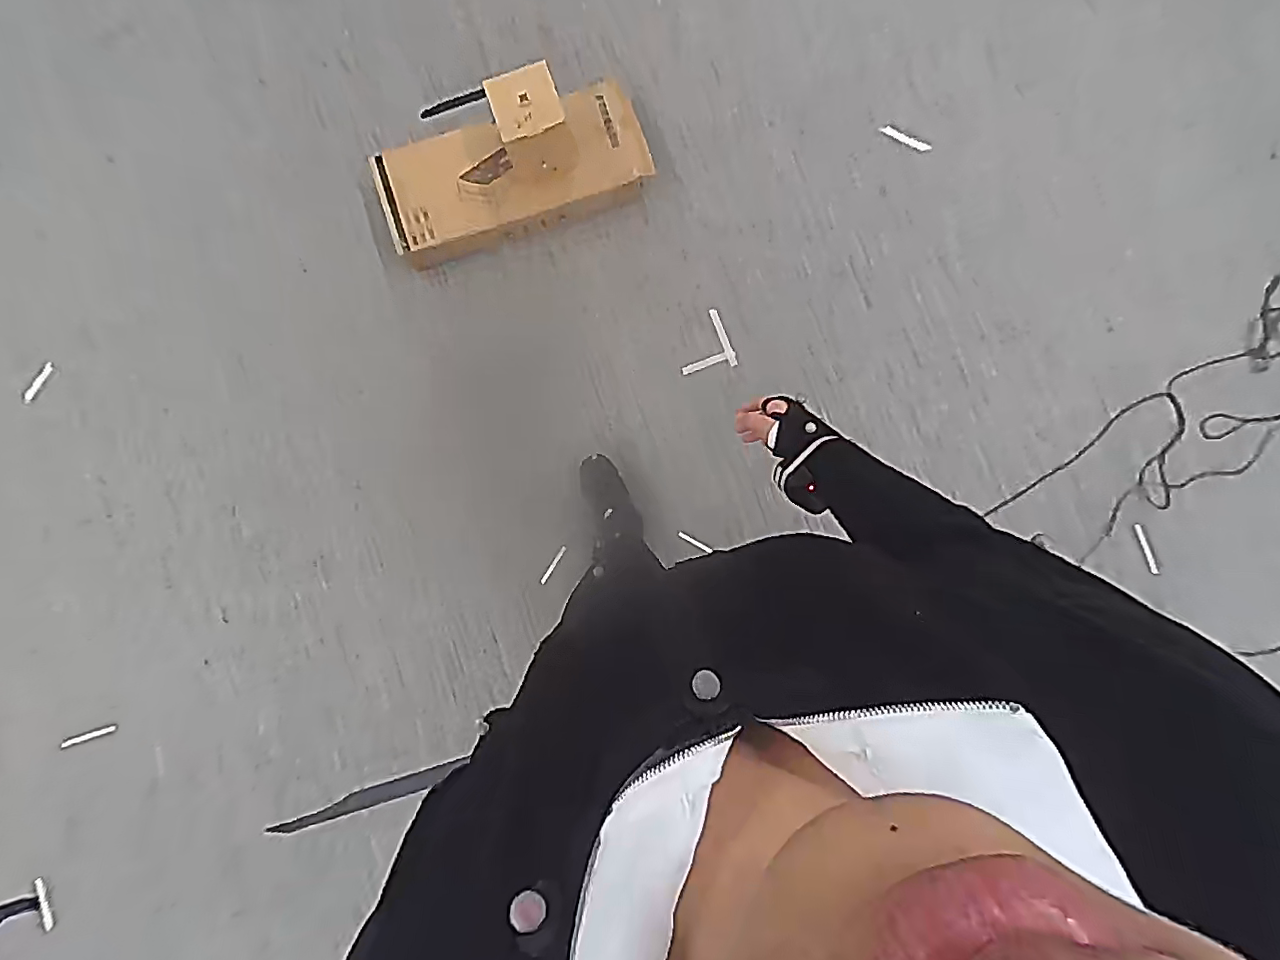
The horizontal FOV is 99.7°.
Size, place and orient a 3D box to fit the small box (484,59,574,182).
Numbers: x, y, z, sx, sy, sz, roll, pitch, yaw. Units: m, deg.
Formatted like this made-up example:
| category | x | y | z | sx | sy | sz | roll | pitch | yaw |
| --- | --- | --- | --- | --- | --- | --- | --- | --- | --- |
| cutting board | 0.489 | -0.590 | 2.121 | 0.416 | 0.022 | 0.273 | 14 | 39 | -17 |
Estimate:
| category | x | y | z | sx | sy | sz | roll | pitch | yaw |
| --- | --- | --- | --- | --- | --- | --- | --- | --- | --- |
| small box | -0.280 | -0.918 | 1.394 | 0.168 | 0.176 | 0.179 | -19 | 85 | 0 |
